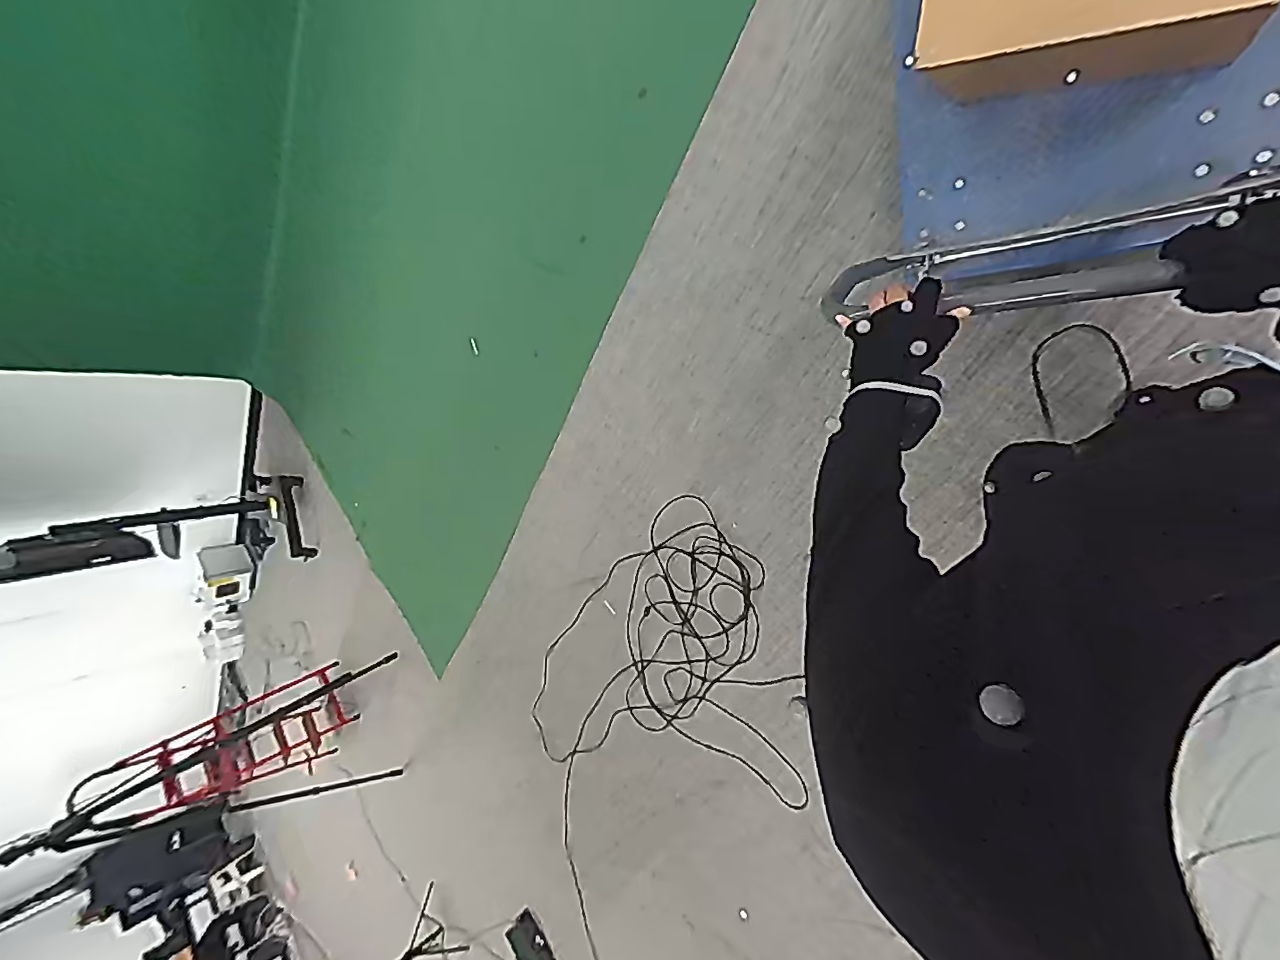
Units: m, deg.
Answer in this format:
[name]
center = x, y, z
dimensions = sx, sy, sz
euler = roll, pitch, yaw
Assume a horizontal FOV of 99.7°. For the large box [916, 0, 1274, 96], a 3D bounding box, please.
[large box]
center = 0.685, -0.803, 0.794
dimensions = 0.408, 0.320, 0.320
euler = 17, 119, 35
